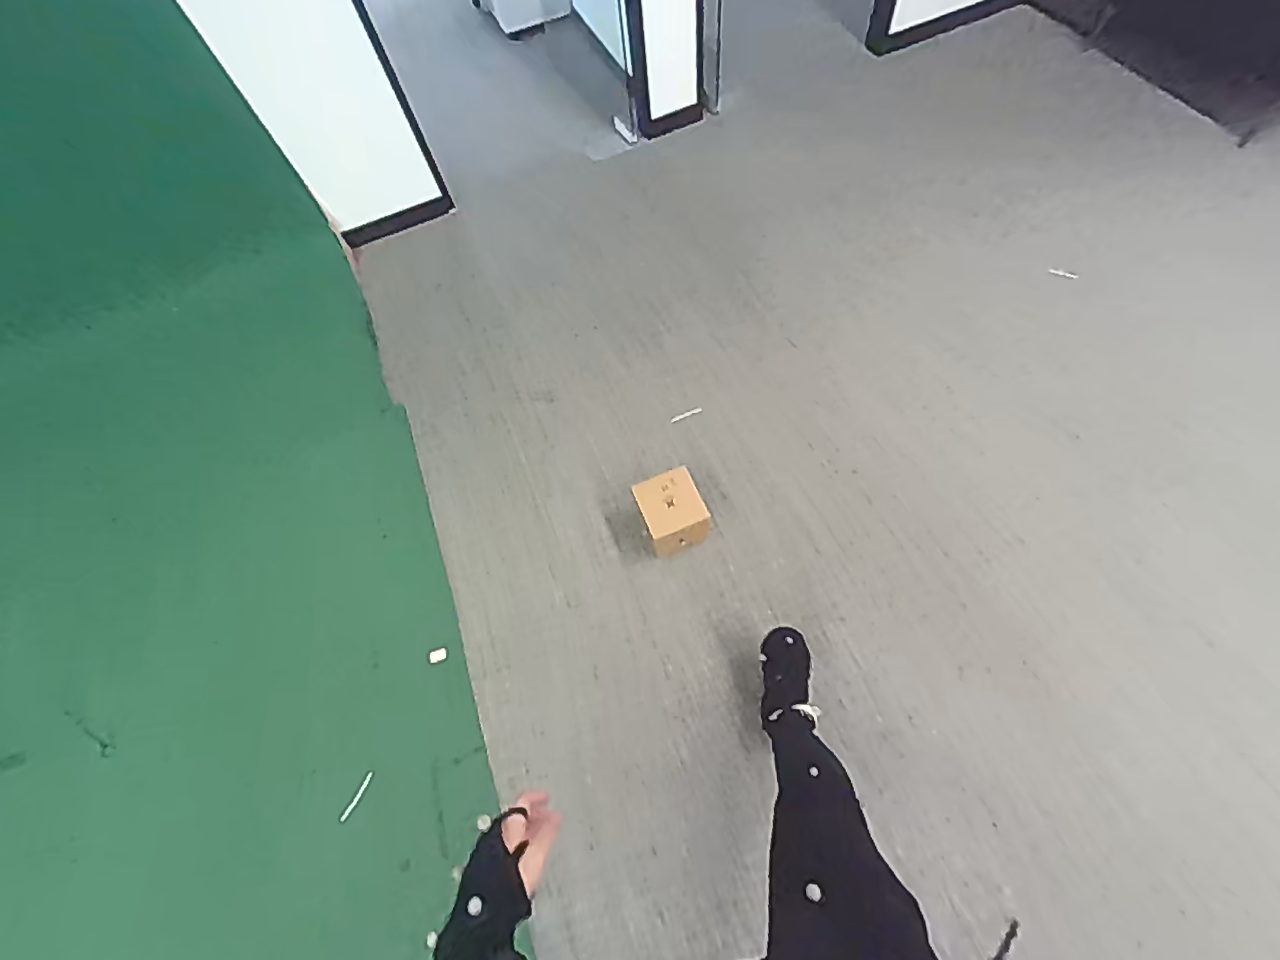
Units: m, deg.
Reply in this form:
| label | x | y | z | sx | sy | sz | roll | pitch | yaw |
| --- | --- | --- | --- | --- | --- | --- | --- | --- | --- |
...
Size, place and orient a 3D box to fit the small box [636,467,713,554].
| label | x | y | z | sx | sy | sz | roll | pitch | yaw |
| --- | --- | --- | --- | --- | --- | --- | --- | --- | --- |
| small box | 0.101 | 0.097 | 1.542 | 0.168 | 0.176 | 0.179 | -22 | 62 | -4 |
